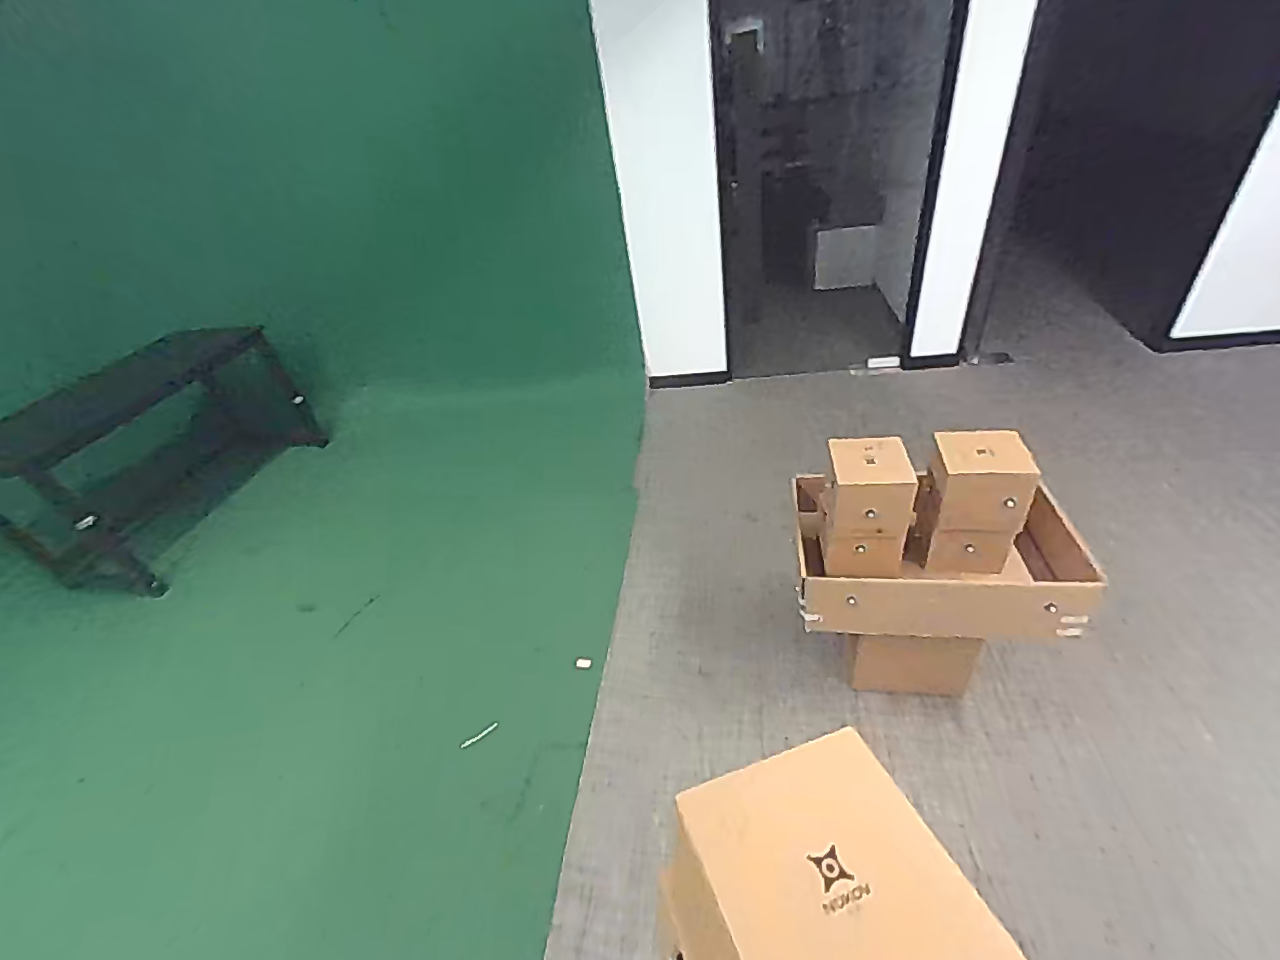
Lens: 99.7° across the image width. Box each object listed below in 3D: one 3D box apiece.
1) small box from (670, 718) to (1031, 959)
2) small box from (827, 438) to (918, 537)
[{"bbox_3d":[0.126,0.322,0.402,0.168,0.176,0.179,-11,34,-16],"label":"small box"},{"bbox_3d":[0.540,0.021,1.278,0.168,0.176,0.179,-2,38,12],"label":"small box"}]
